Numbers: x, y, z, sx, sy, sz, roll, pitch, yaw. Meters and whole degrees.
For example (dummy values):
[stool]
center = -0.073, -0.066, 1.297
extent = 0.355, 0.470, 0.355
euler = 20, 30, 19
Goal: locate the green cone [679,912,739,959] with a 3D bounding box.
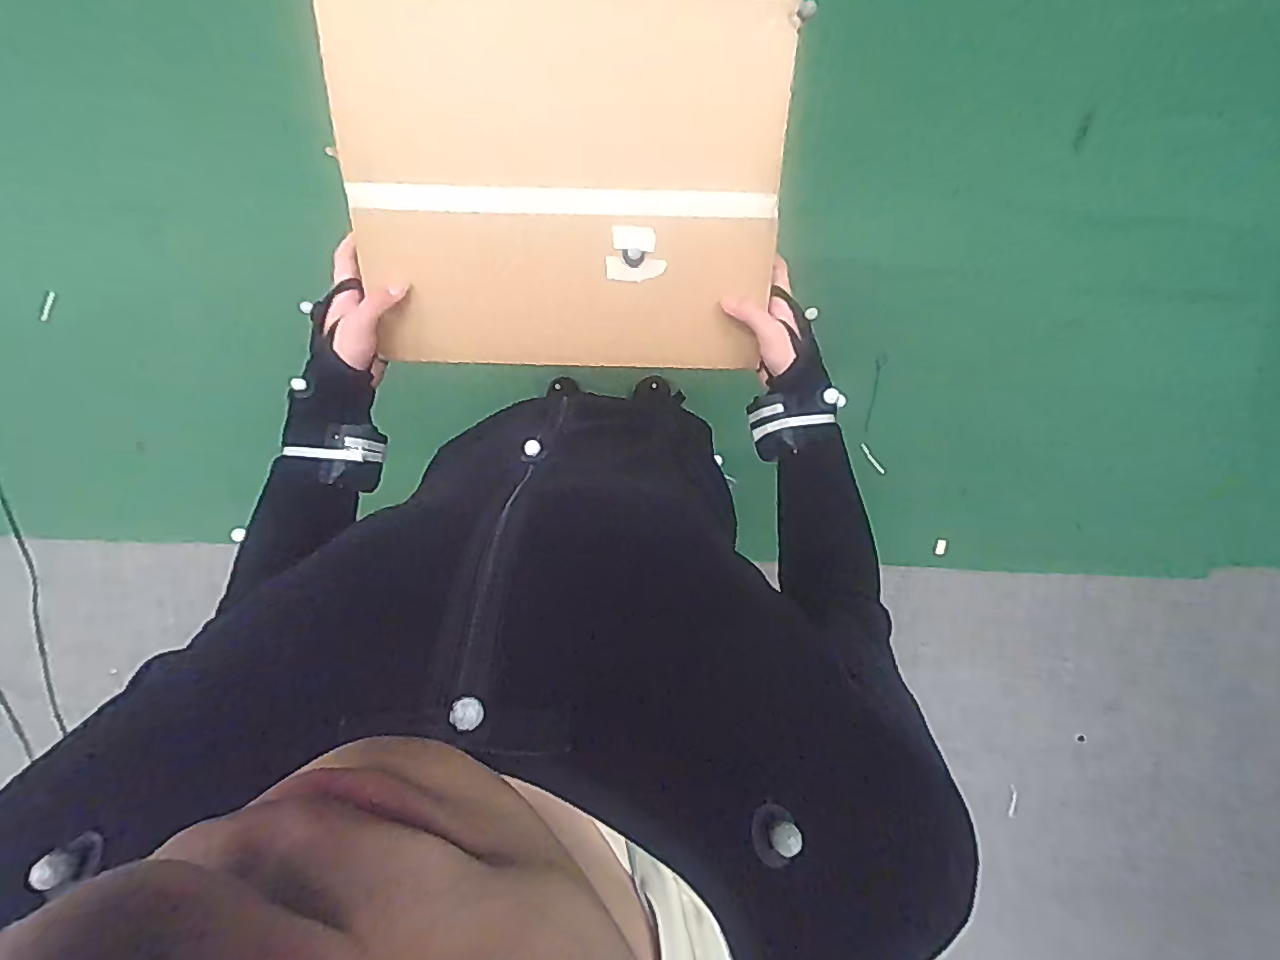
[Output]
[green cone]
center = 0.264, 1.729, 1.843
extent = 0.200, 0.368, 0.202
euler = 8, 100, -4

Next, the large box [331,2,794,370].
[large box]
center = -0.071, -0.322, 0.655
extent = 0.408, 0.320, 0.320
euler = 0, 115, -2
